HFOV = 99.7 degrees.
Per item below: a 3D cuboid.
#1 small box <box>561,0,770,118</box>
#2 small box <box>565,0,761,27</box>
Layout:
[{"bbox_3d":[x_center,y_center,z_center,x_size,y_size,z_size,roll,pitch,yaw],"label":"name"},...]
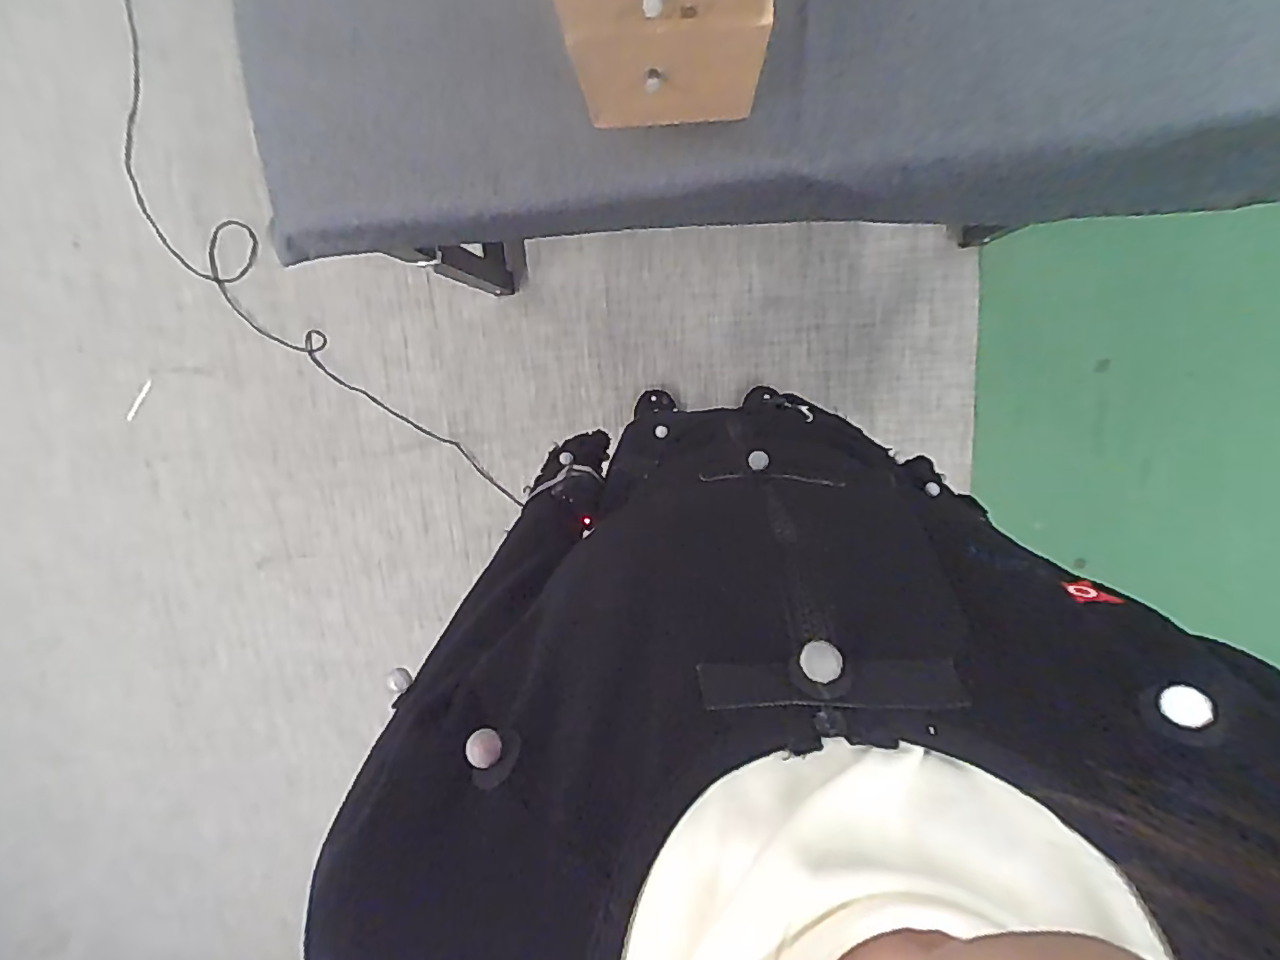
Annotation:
[{"bbox_3d":[0.026,-0.472,0.514,0.179,0.176,0.168,0,101,5],"label":"small box"},{"bbox_3d":[0.012,-0.448,0.352,0.168,0.176,0.179,0,101,4],"label":"small box"}]
